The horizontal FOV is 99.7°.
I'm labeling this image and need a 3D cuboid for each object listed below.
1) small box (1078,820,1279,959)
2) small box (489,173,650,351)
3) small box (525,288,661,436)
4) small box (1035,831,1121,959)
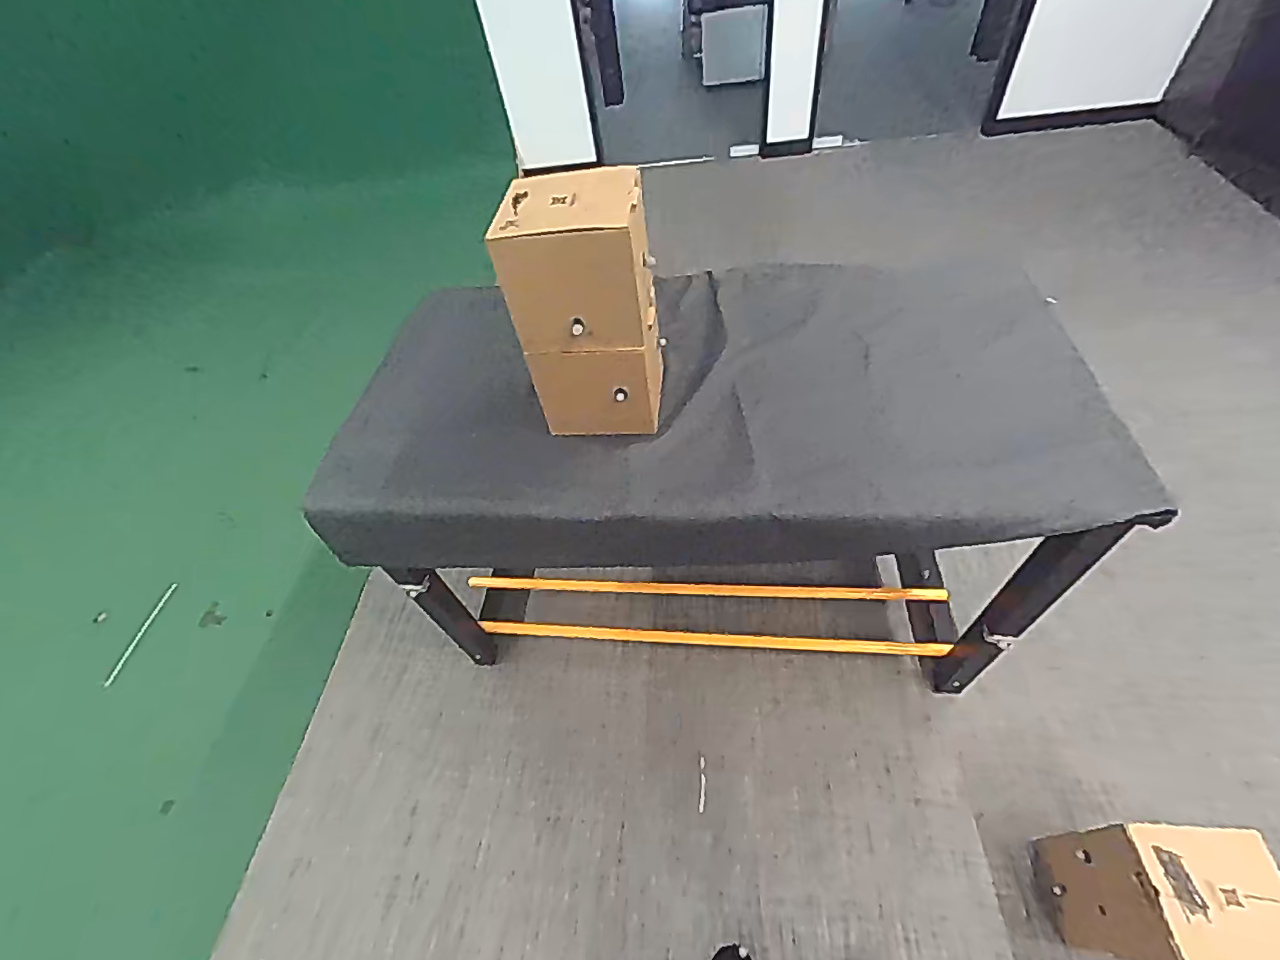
[{"bbox_3d":[0.804,0.621,0.805,0.179,0.176,0.168,-1,51,7],"label":"small box"},{"bbox_3d":[-0.081,-0.294,0.742,0.179,0.176,0.168,-1,50,7],"label":"small box"},{"bbox_3d":[-0.061,-0.184,0.863,0.179,0.176,0.168,-1,50,9],"label":"small box"},{"bbox_3d":[0.836,0.721,0.932,0.179,0.176,0.168,0,51,9],"label":"small box"}]
